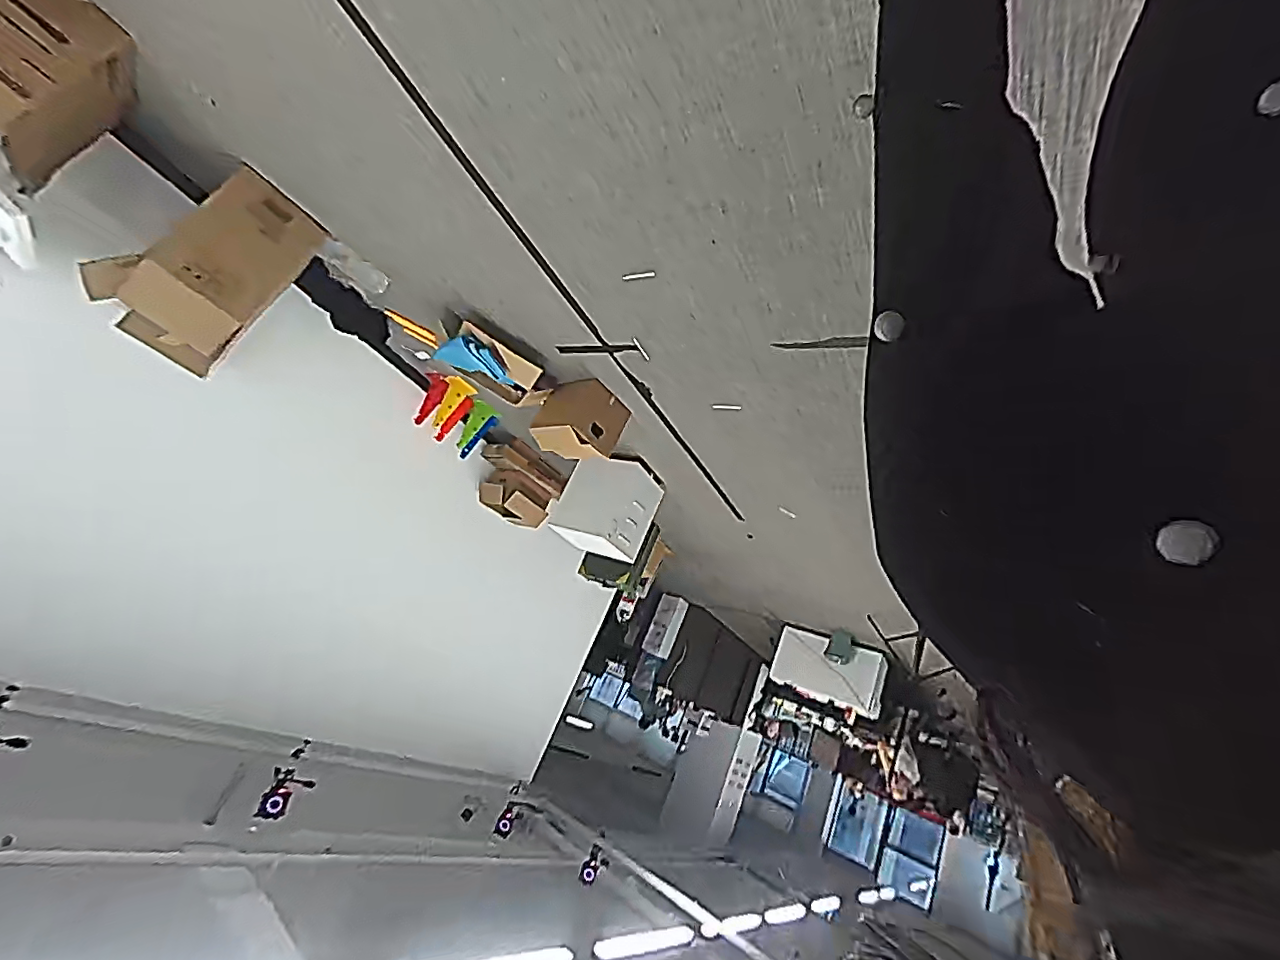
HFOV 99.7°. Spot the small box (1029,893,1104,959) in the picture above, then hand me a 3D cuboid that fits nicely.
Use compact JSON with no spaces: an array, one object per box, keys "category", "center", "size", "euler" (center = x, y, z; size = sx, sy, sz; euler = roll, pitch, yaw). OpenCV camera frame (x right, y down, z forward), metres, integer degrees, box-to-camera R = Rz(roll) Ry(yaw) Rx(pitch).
[{"category":"small box","center":[1.336,1.431,1.692],"size":[0.168,0.176,0.179],"euler":[6,152,44]}]
